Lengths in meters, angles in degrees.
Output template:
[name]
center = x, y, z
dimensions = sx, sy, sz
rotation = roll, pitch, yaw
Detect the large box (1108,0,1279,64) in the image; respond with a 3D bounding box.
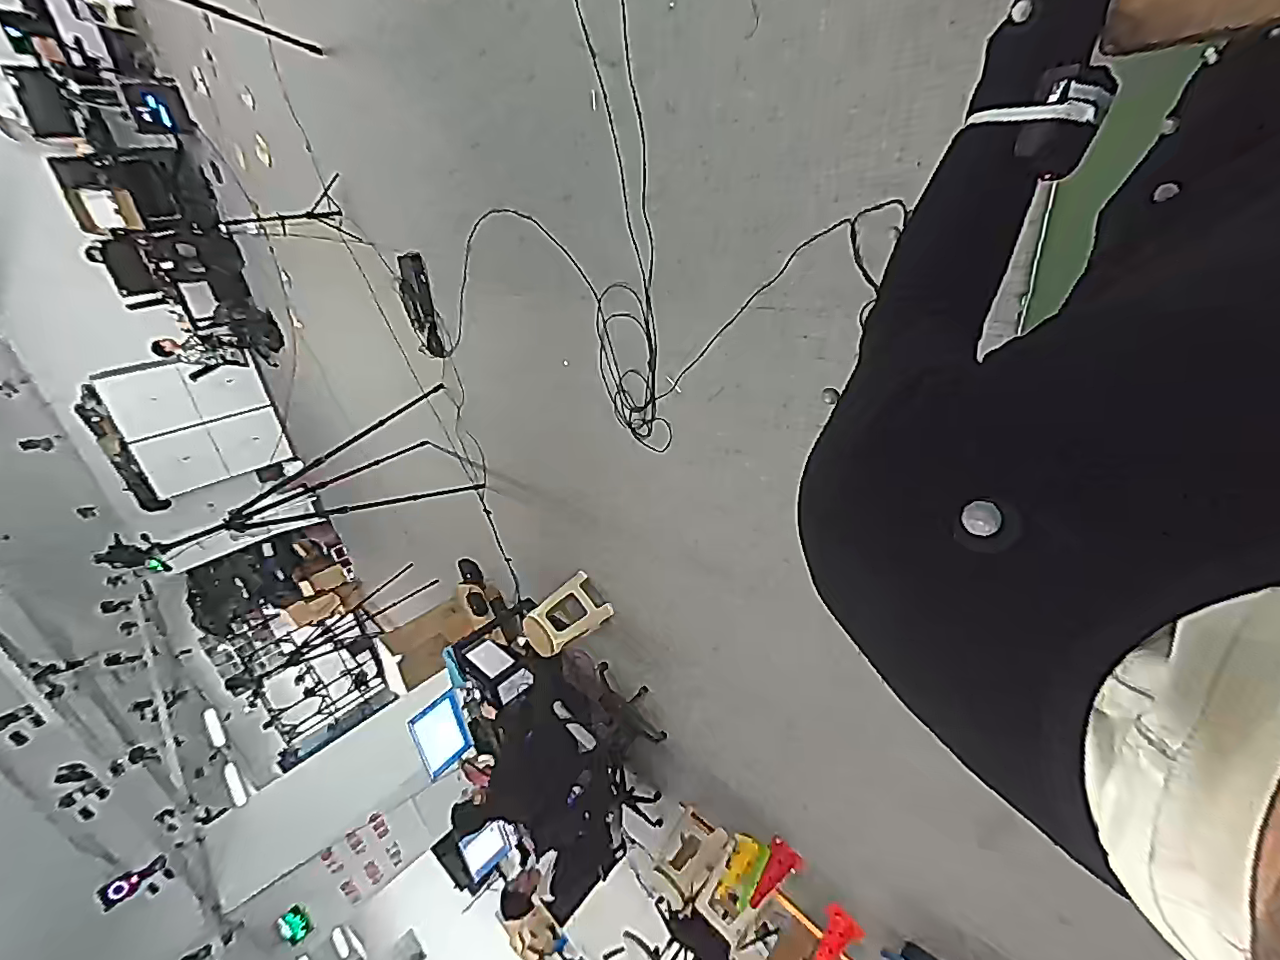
[large box]
center = 0.568, -0.478, 0.302
dimensions = 0.408, 0.320, 0.320
rotation = 16, 129, 41
